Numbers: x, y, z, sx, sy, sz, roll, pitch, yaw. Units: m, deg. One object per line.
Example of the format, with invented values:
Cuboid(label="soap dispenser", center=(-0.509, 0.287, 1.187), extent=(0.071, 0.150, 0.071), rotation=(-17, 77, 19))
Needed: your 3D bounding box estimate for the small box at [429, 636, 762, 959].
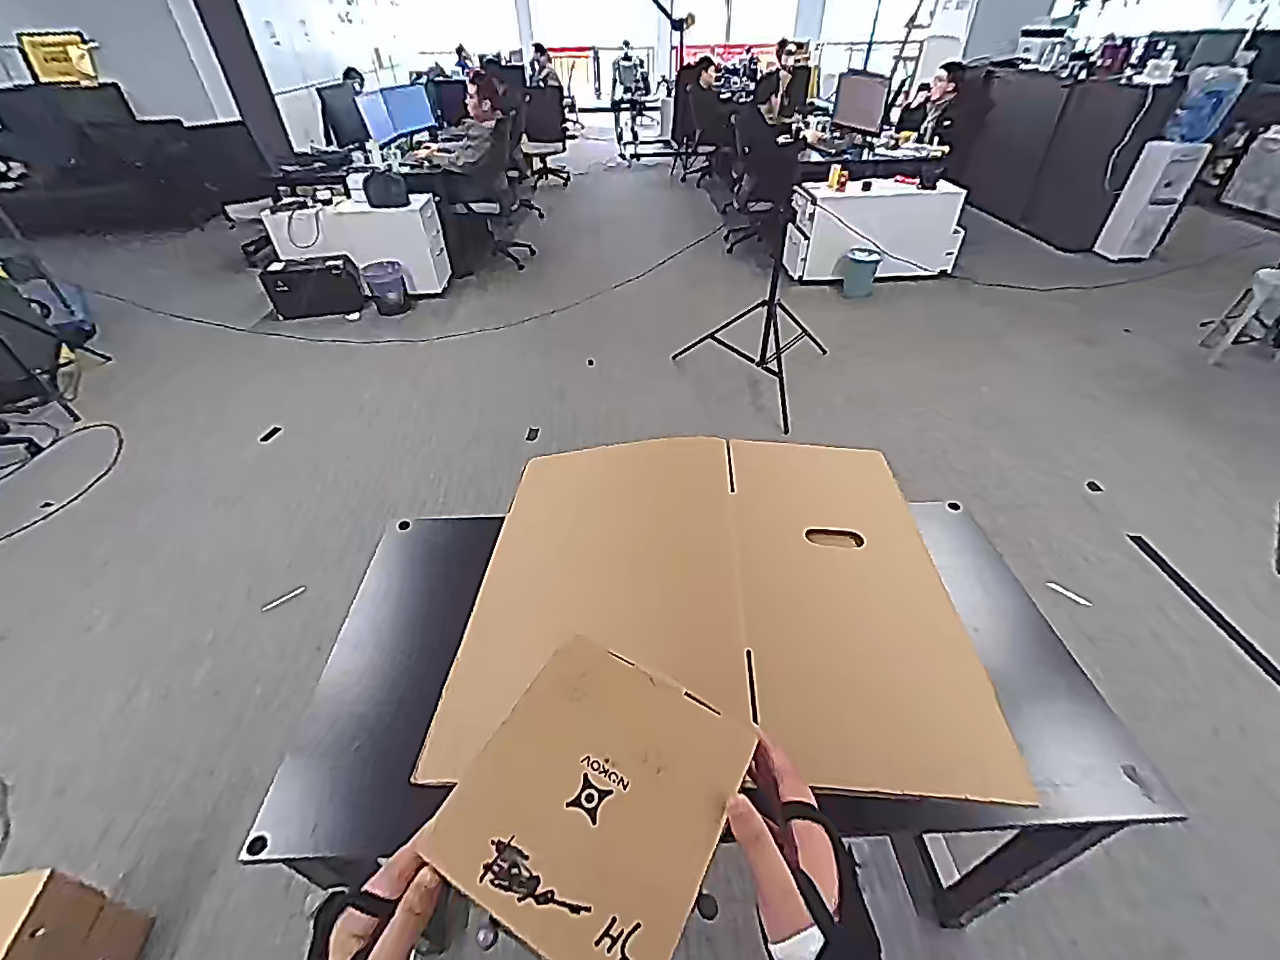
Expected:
Cuboid(label="small box", center=(-0.024, 0.264, 0.417), extent=(0.168, 0.176, 0.179), rotation=(21, 47, 22))

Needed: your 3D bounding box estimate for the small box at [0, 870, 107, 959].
Cuboid(label="small box", center=(-1.159, 0.859, 0.996), extent=(0.168, 0.176, 0.179), rotation=(-6, 39, -7))

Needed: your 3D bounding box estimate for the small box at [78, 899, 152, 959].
Cuboid(label="small box", center=(-1.154, 0.987, 1.095), extent=(0.168, 0.176, 0.179), rotation=(-5, 41, -4))
